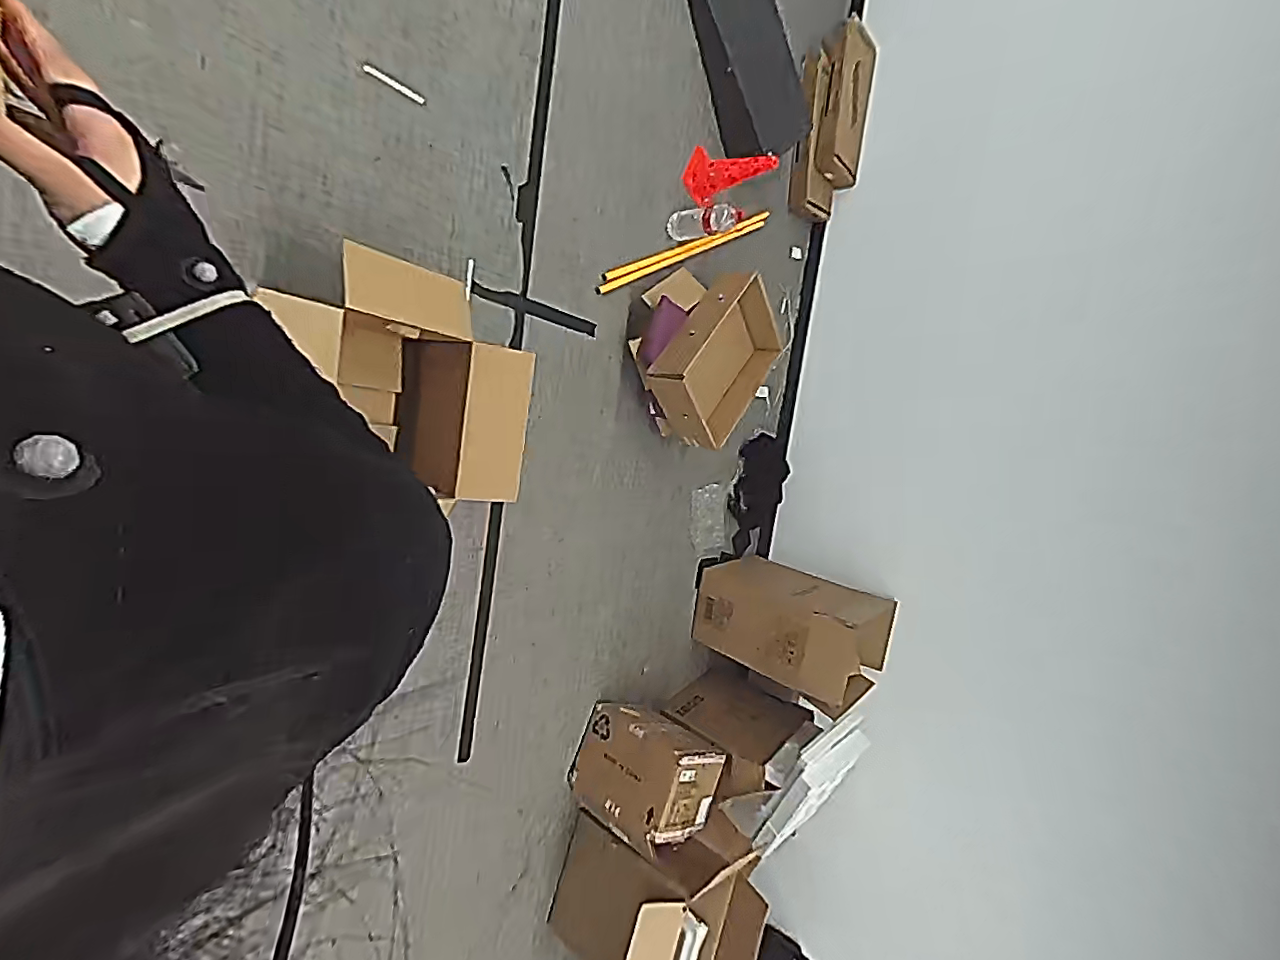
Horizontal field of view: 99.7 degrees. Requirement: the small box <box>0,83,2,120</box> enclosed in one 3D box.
[{"bbox_3d":[-0.459,-0.298,0.269,0.179,0.176,0.168,-3,113,-48],"label":"small box"}]
